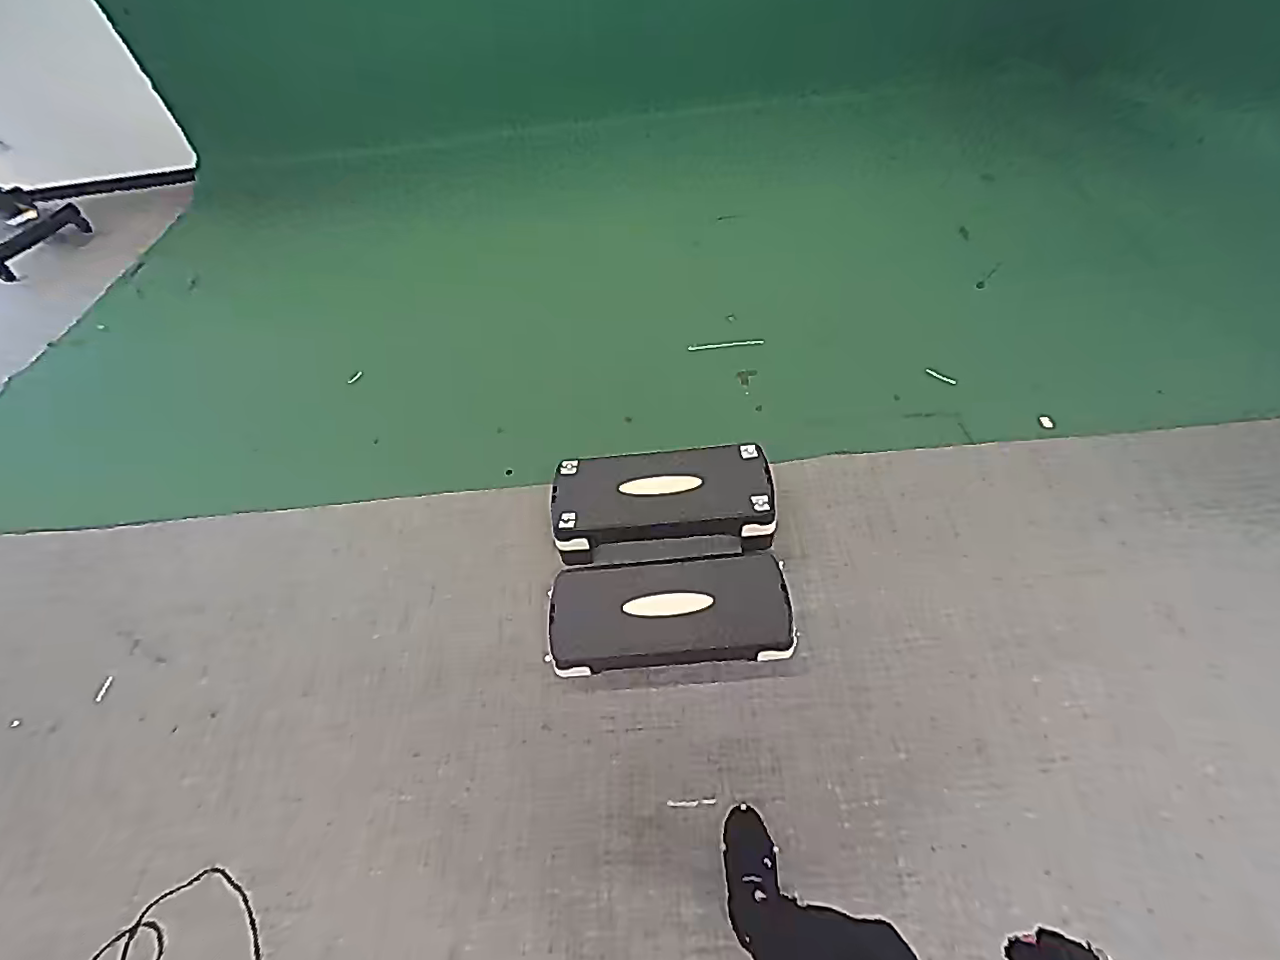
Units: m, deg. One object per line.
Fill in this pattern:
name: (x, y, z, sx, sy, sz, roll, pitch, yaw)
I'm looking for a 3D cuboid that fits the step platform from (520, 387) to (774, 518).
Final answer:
step platform: (0.021, -0.075, 1.539, 0.684, 0.204, 0.286, -6, 53, 3)
